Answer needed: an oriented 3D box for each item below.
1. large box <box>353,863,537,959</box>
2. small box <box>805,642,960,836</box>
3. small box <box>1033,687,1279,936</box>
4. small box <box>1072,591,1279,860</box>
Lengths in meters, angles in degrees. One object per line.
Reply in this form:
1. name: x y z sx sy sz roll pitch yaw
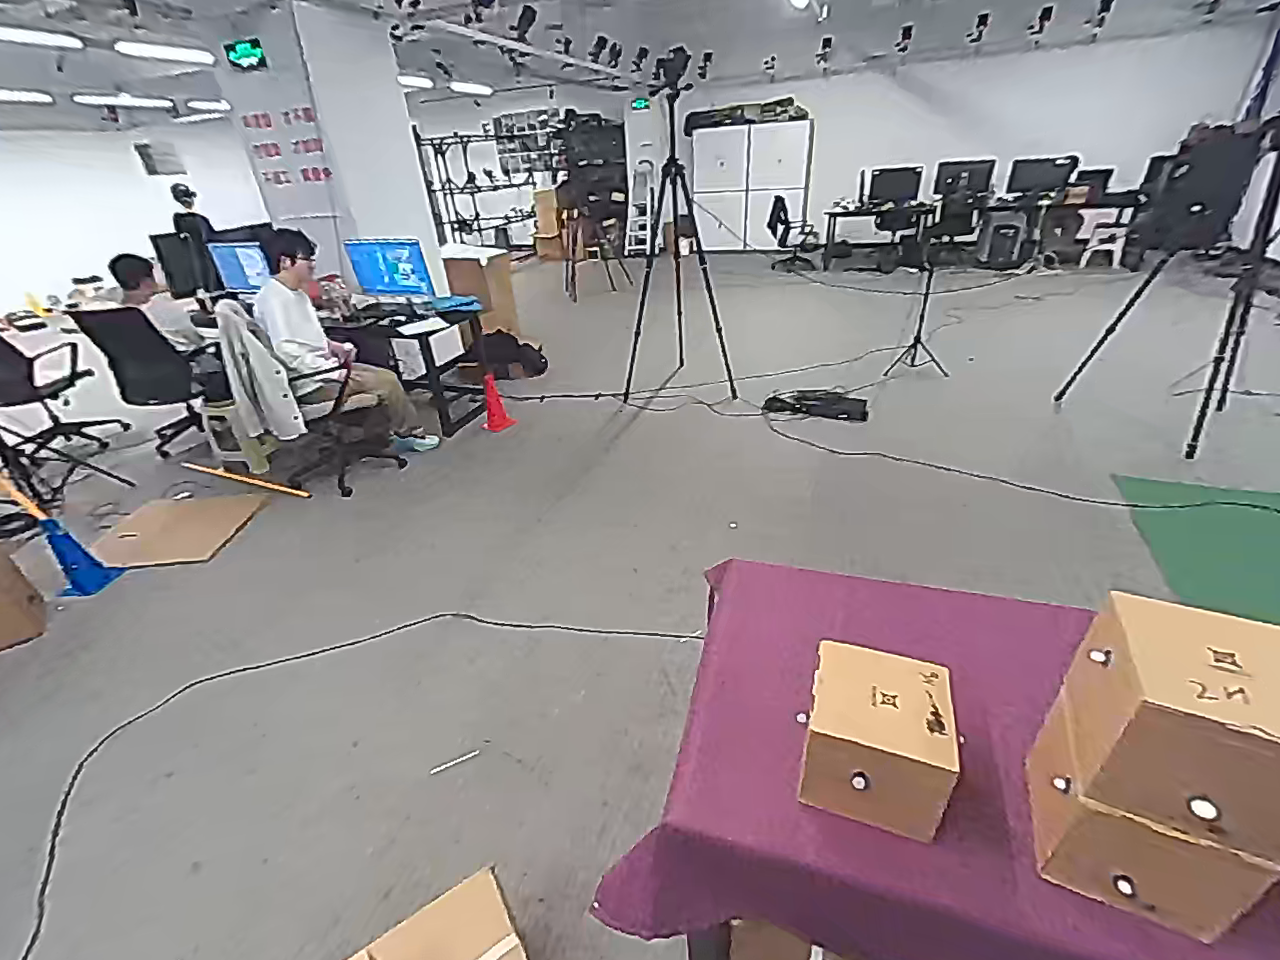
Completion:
1. large box: -0.373 1.056 1.008 0.408 0.320 0.320 -21 35 -27
2. small box: 0.337 0.365 0.771 0.179 0.176 0.168 7 34 21
3. small box: 0.615 0.403 0.673 0.168 0.176 0.179 11 35 25
4. small box: 0.607 0.259 0.594 0.168 0.176 0.179 11 35 26
